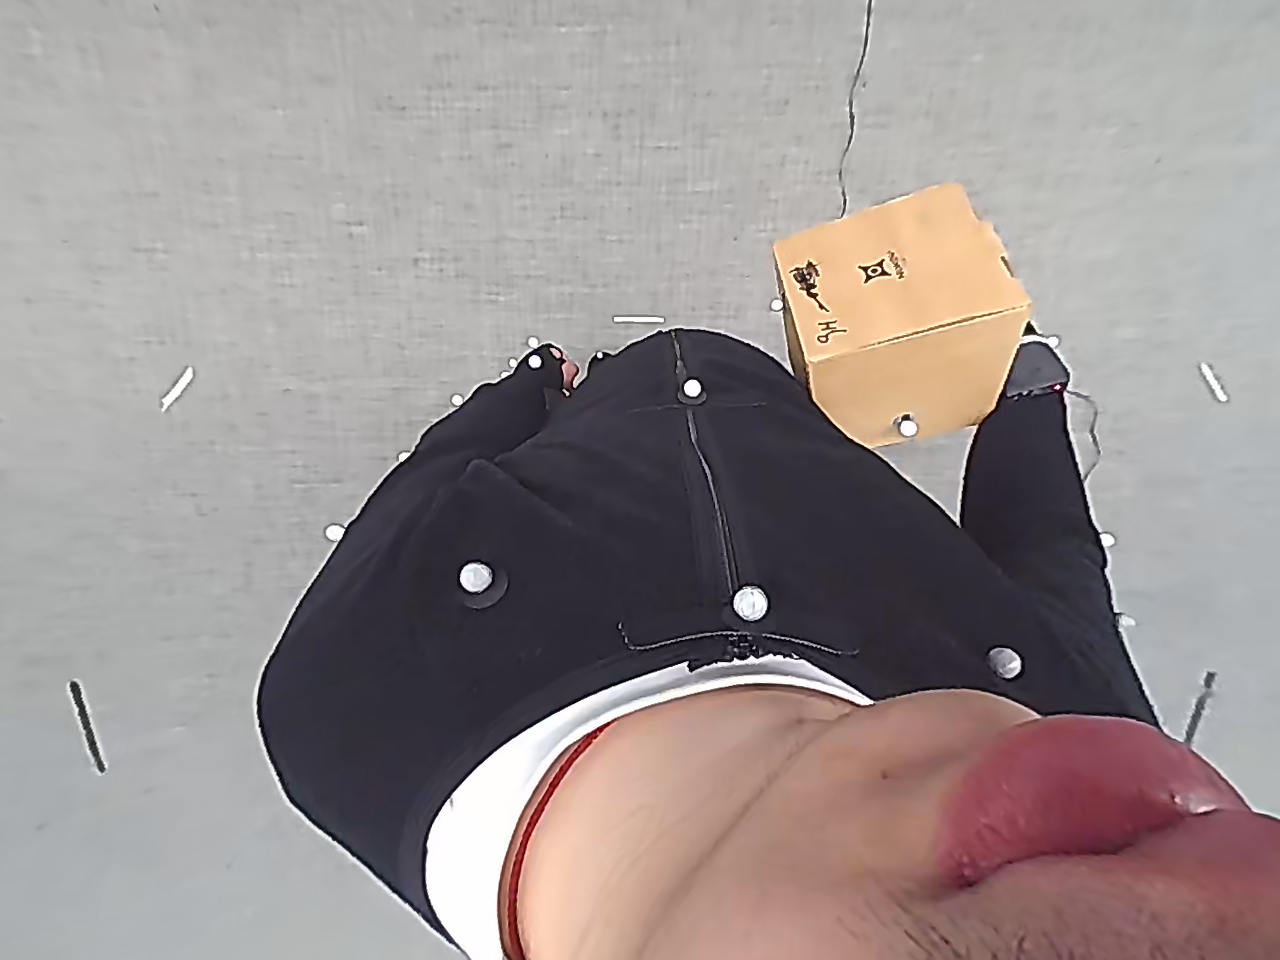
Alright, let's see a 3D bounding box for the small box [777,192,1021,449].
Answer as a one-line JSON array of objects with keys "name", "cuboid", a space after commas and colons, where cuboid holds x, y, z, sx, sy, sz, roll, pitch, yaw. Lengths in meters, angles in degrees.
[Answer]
[{"name": "small box", "cuboid": [0.252, -0.155, 0.570, 0.179, 0.168, 0.176, -13, 147, 14]}]
